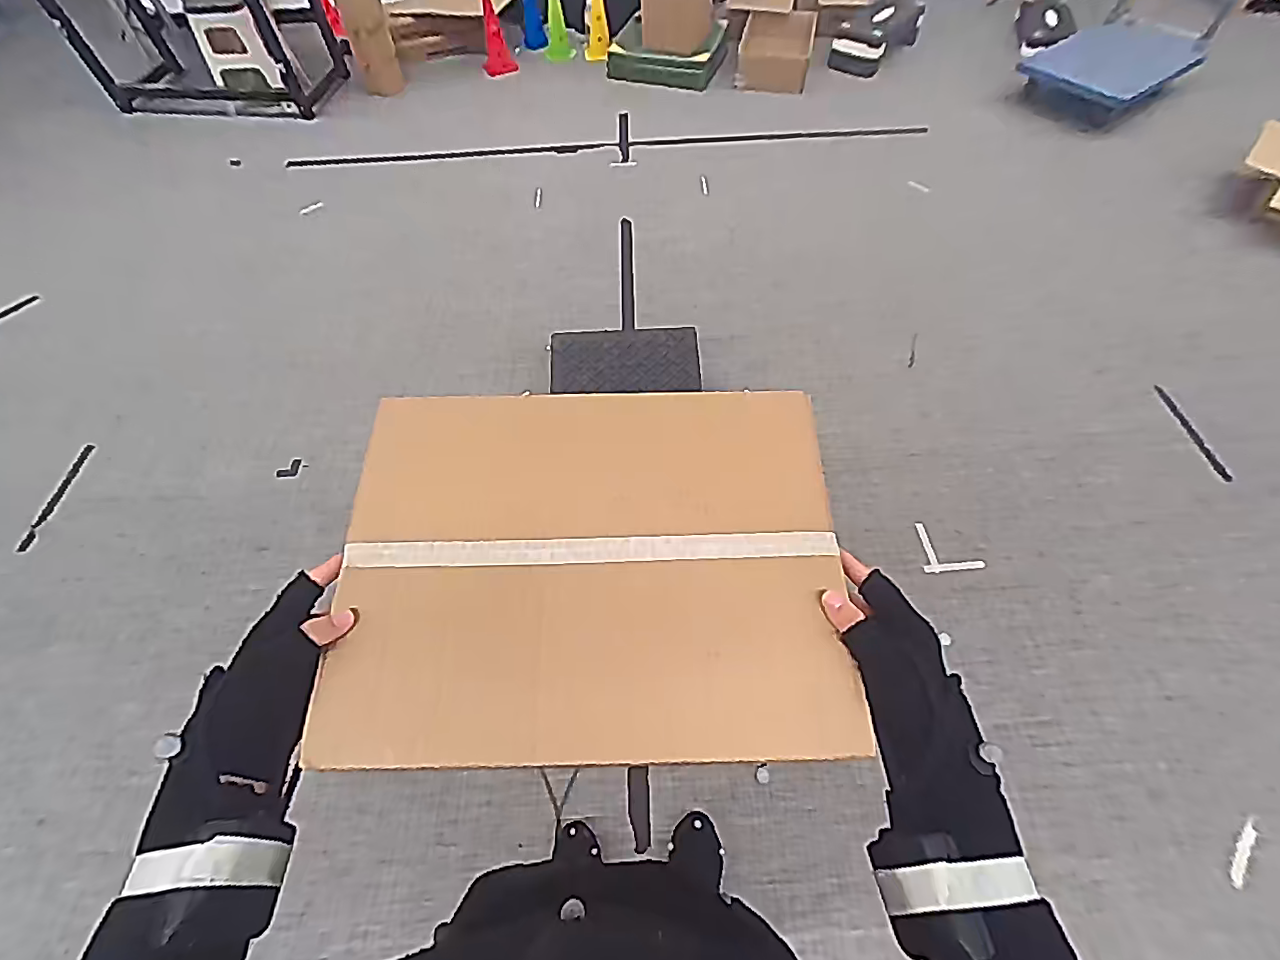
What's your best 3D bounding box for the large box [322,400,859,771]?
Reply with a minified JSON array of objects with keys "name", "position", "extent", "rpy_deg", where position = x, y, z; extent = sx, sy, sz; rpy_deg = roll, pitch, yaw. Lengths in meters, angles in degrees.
[{"name":"large box","position":[-0.037,0.130,0.593],"extent":[0.408,0.320,0.320],"rpy_deg":[-1,63,0]}]
